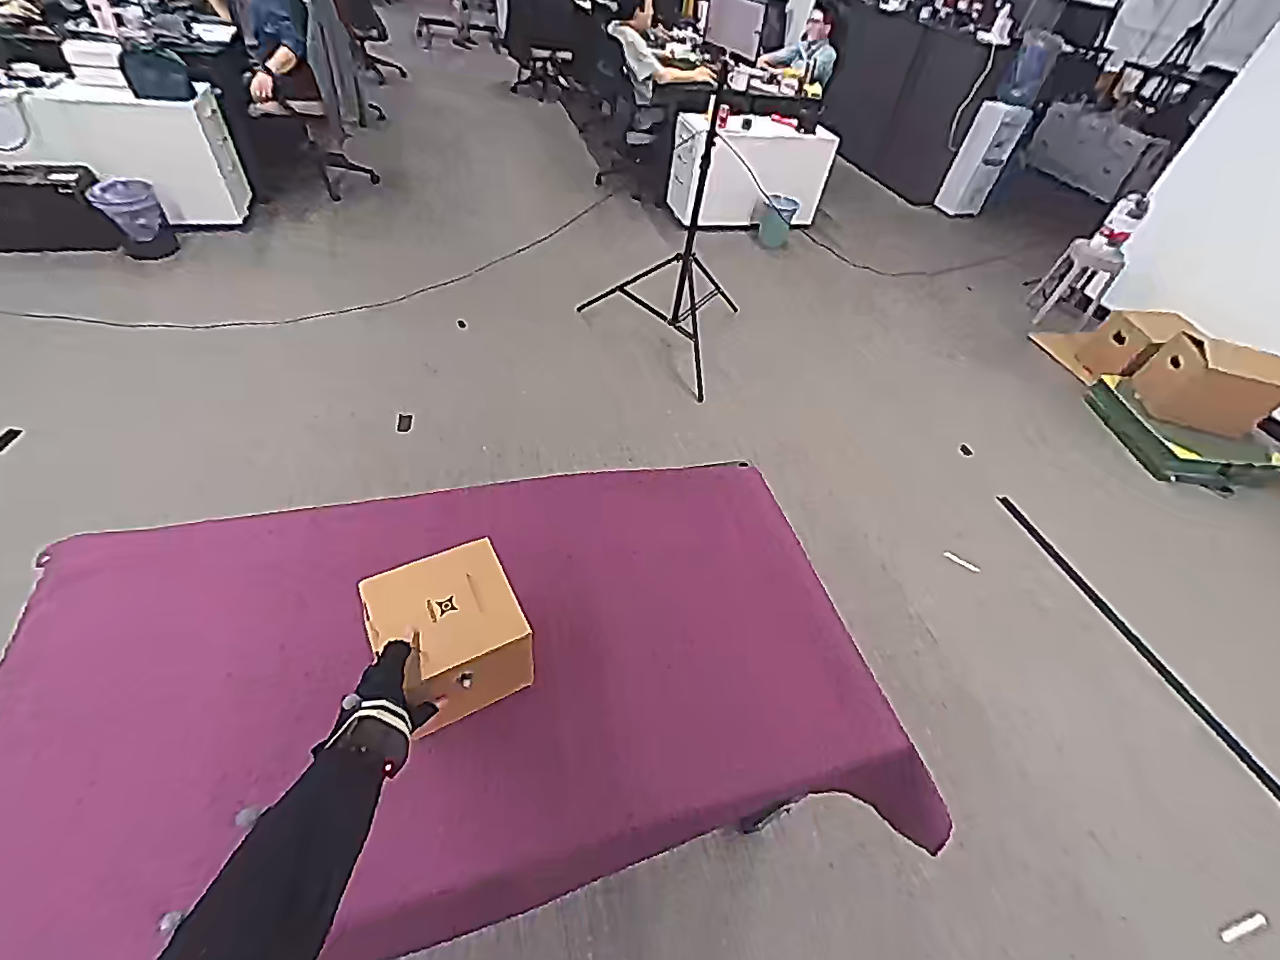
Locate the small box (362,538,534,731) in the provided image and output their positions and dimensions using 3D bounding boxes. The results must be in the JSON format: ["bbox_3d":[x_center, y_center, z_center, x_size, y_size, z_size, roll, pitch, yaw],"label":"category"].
[{"bbox_3d":[-0.258,0.216,0.753,0.179,0.176,0.168,-20,54,-25],"label":"small box"}]
